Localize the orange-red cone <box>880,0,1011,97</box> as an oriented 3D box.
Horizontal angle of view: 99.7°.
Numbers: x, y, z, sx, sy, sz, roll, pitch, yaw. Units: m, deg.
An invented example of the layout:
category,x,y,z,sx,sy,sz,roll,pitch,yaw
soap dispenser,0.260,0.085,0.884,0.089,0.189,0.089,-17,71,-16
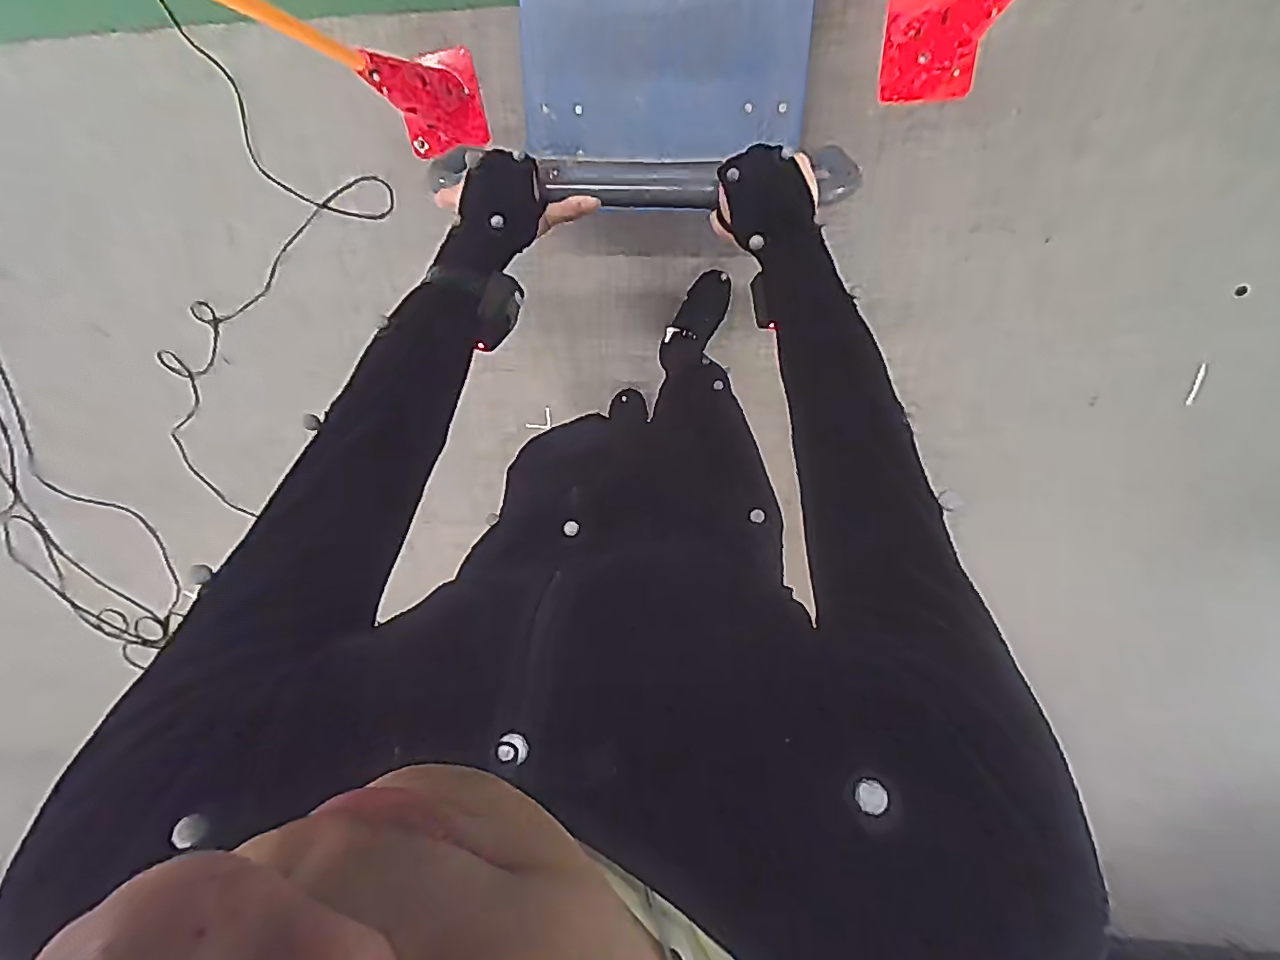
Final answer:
category,x,y,z,sx,sy,sz,roll,pitch,yaw
orange-red cone,0.611,-0.871,0.997,0.198,0.360,0.199,1,113,4
